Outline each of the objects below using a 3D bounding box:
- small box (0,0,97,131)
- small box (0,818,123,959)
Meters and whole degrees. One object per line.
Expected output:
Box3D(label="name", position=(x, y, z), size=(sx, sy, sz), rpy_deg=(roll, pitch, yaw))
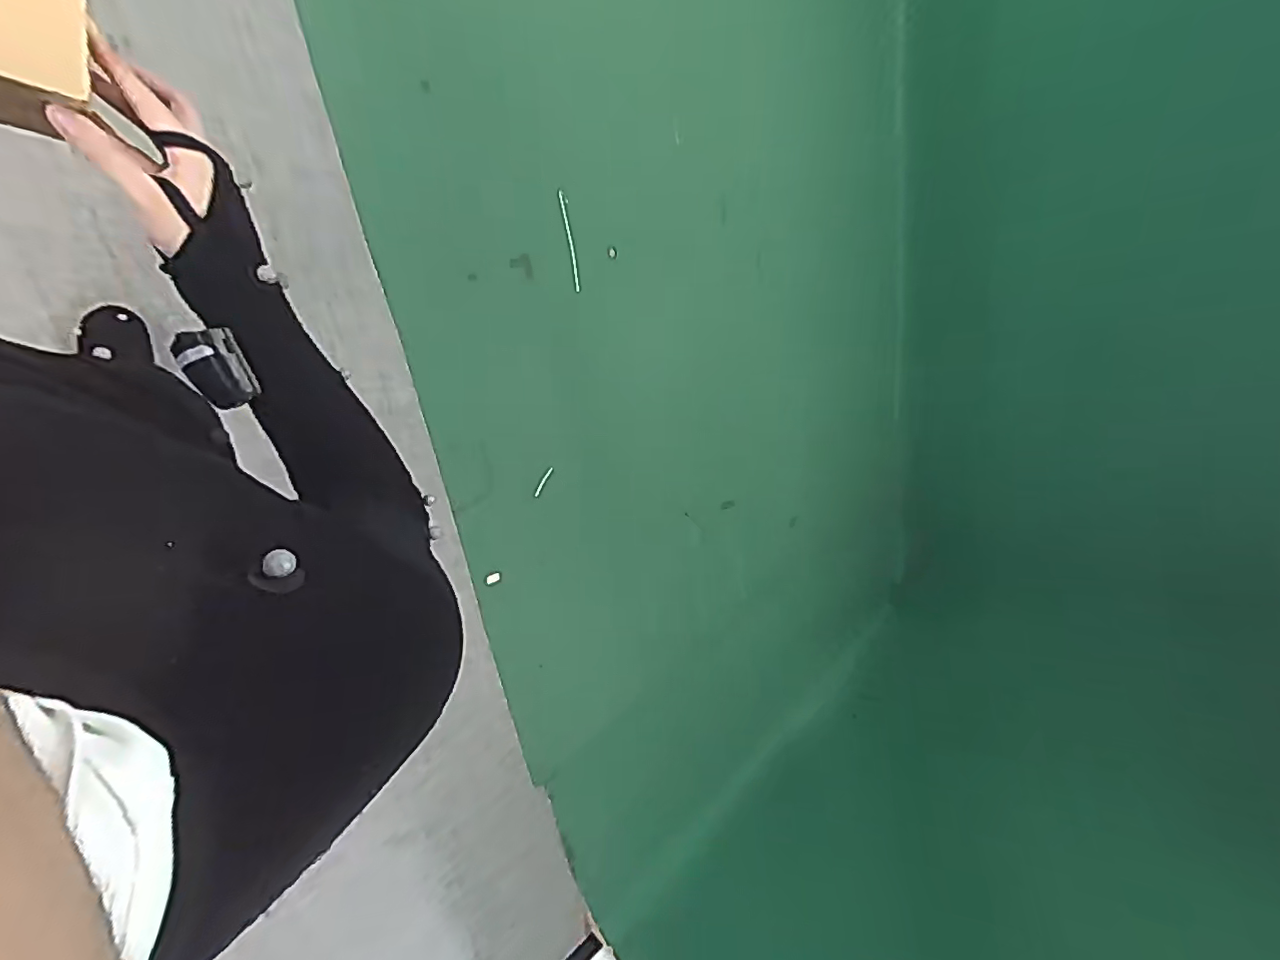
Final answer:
Box3D(label="small box", position=(-0.467, -0.346, 0.337), size=(0.179, 0.176, 0.168), rpy_deg=(-3, 107, -43))
Box3D(label="small box", position=(-1.268, 0.886, 1.182), size=(0.168, 0.176, 0.179), rpy_deg=(-15, 108, -38))
